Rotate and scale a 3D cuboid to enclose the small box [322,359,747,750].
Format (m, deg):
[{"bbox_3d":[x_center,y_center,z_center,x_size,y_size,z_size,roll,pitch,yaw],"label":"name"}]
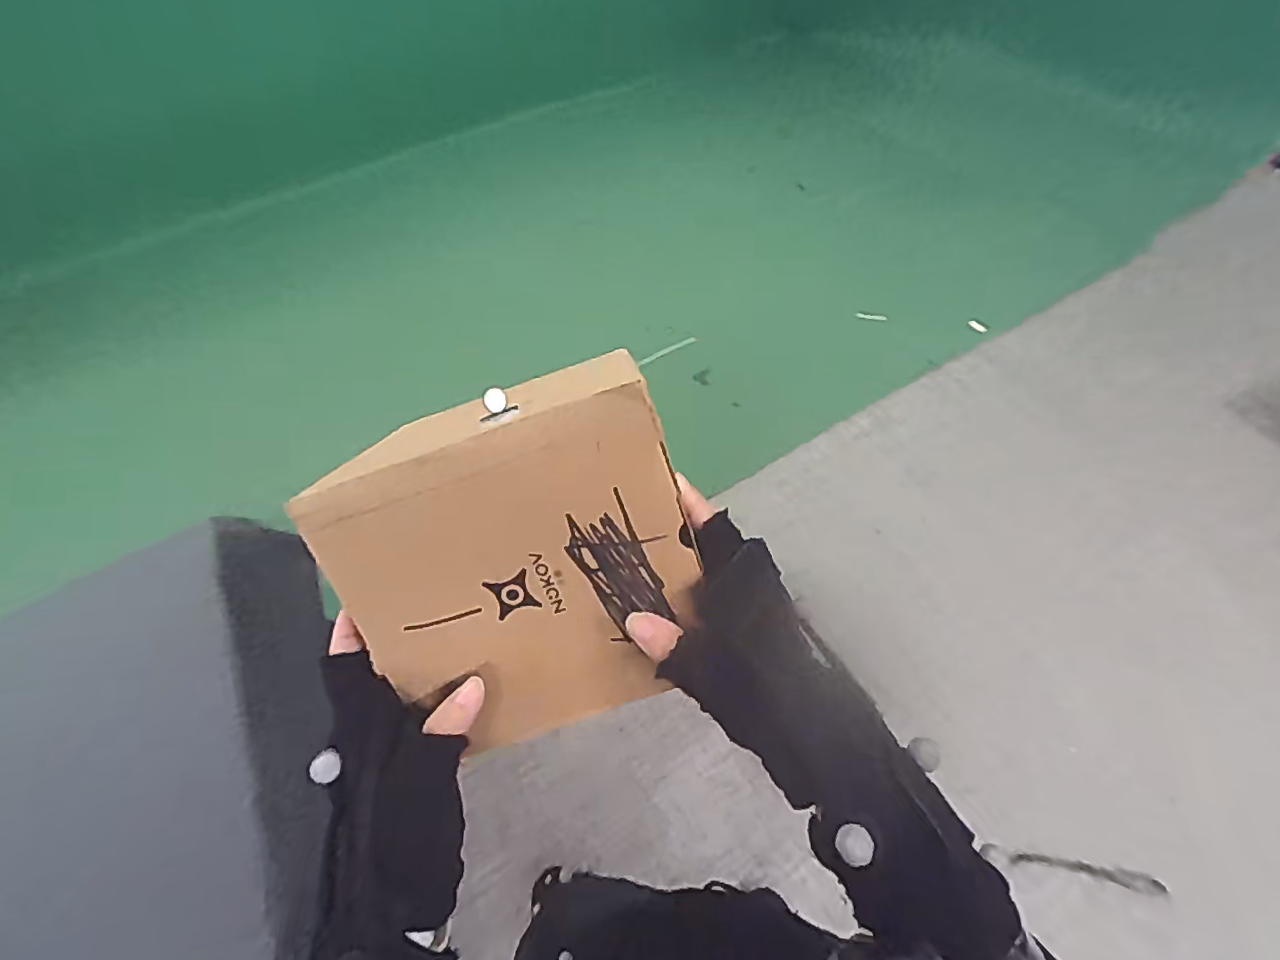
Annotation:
[{"bbox_3d":[-0.050,0.029,0.350,0.179,0.168,0.176,-18,18,3],"label":"small box"}]
